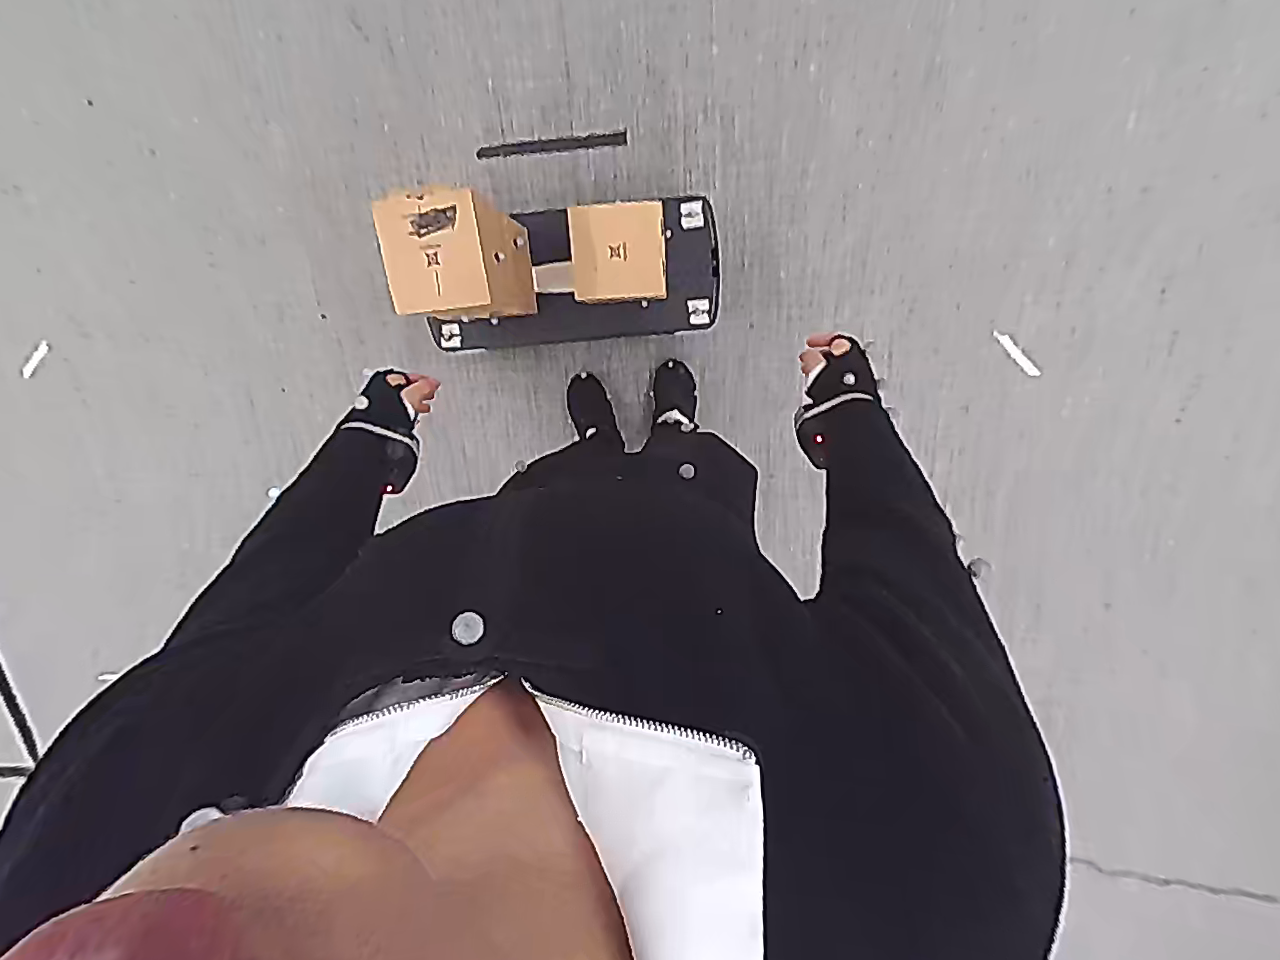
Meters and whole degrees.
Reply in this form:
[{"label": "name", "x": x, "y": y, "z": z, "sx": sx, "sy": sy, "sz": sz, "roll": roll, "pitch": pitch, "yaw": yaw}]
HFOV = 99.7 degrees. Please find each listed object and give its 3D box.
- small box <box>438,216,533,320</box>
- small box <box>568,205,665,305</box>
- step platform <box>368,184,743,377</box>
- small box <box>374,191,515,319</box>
[{"label": "small box", "x": -0.319, "y": -0.421, "z": 1.102, "sx": 0.168, "sy": 0.176, "sz": 0.179, "roll": -4, "pitch": 106, "yaw": 4}, {"label": "small box", "x": -0.039, "y": -0.443, "z": 1.087, "sx": 0.179, "sy": 0.176, "sz": 0.168, "roll": -2, "pitch": 106, "yaw": 5}, {"label": "step platform", "x": -0.153, "y": -0.377, "z": 1.072, "sx": 0.684, "sy": 0.204, "sz": 0.286, "roll": -4, "pitch": 105, "yaw": 3}, {"label": "small box", "x": -0.328, "y": -0.381, "z": 0.943, "sx": 0.168, "sy": 0.176, "sz": 0.179, "roll": -5, "pitch": 106, "yaw": 4}]
